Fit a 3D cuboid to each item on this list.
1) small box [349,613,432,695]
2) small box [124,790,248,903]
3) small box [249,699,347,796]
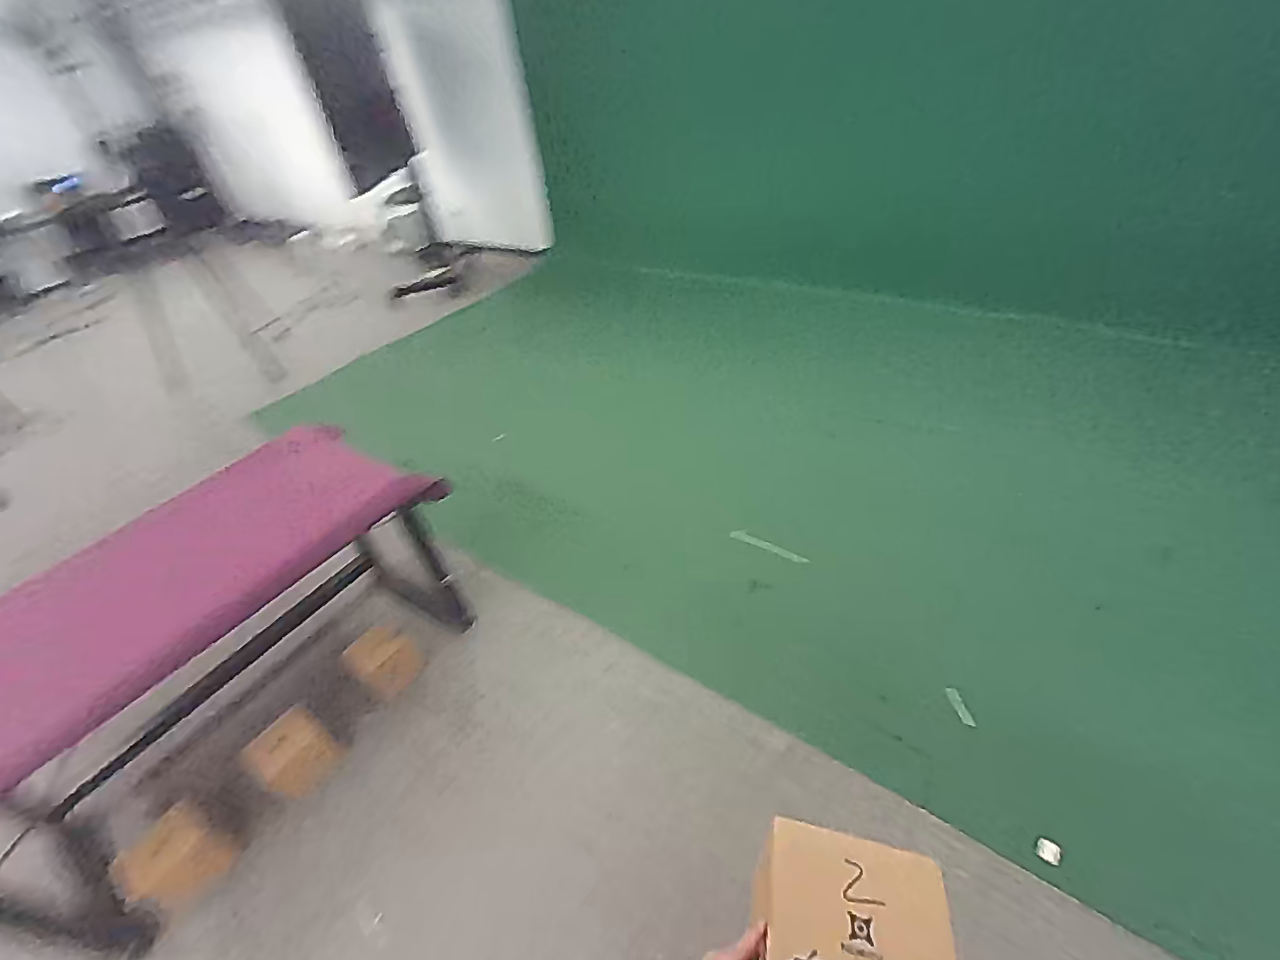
[{"bbox_3d":[-0.861,0.609,1.881,0.168,0.176,0.179,23,50,32],"label":"small box"},{"bbox_3d":[-1.236,1.008,1.483,0.168,0.176,0.179,20,47,30],"label":"small box"},{"bbox_3d":[-1.039,0.822,1.664,0.168,0.176,0.179,20,49,31],"label":"small box"}]
